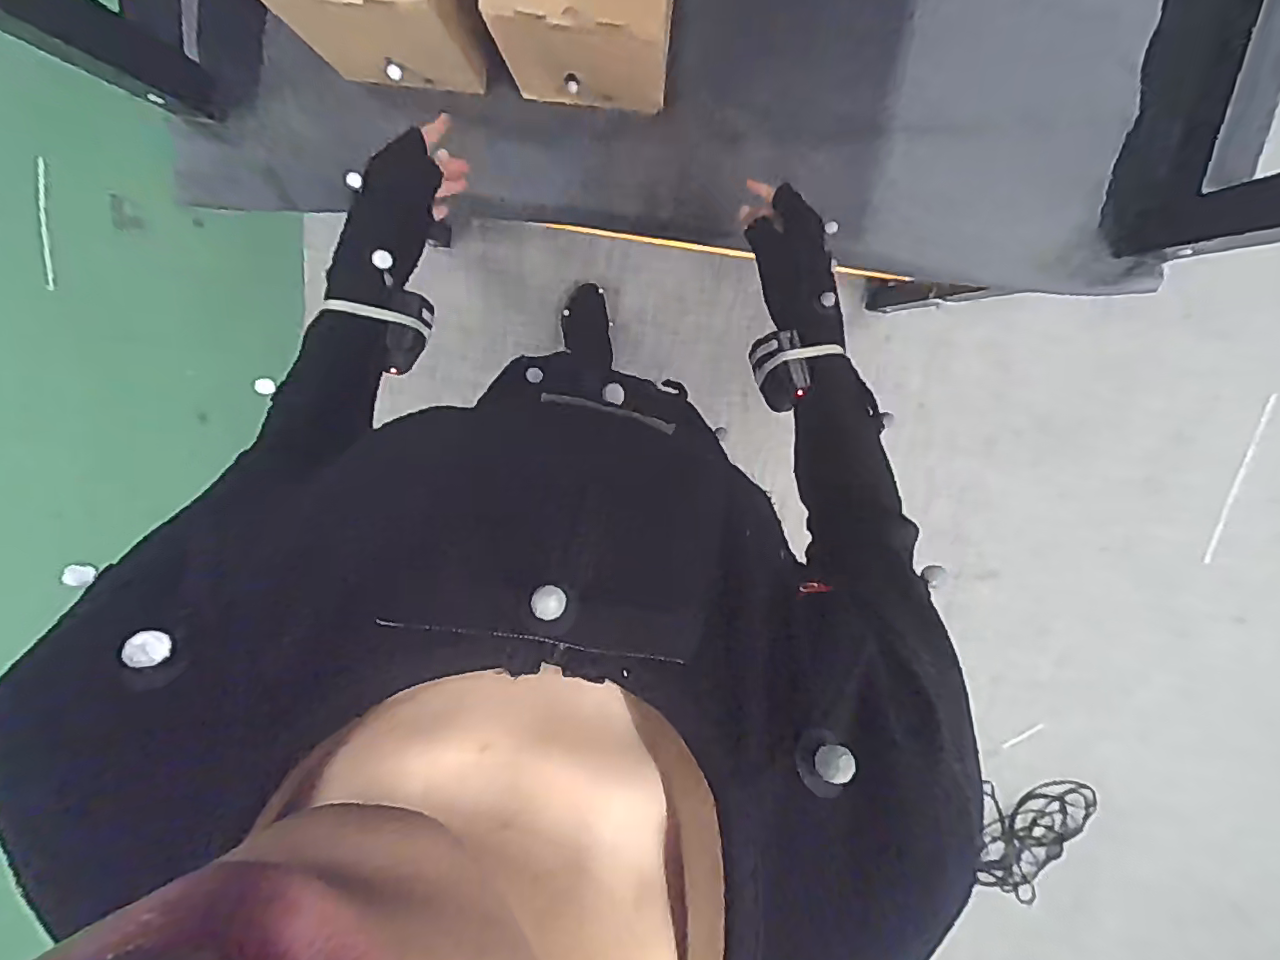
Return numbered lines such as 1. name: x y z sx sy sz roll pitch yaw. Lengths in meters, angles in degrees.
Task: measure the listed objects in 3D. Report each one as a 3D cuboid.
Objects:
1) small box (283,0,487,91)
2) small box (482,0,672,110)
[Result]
1. small box: -0.254 -0.528 0.532 0.168 0.176 0.179 6 103 0
2. small box: -0.051 -0.509 0.536 0.168 0.176 0.179 6 103 0
